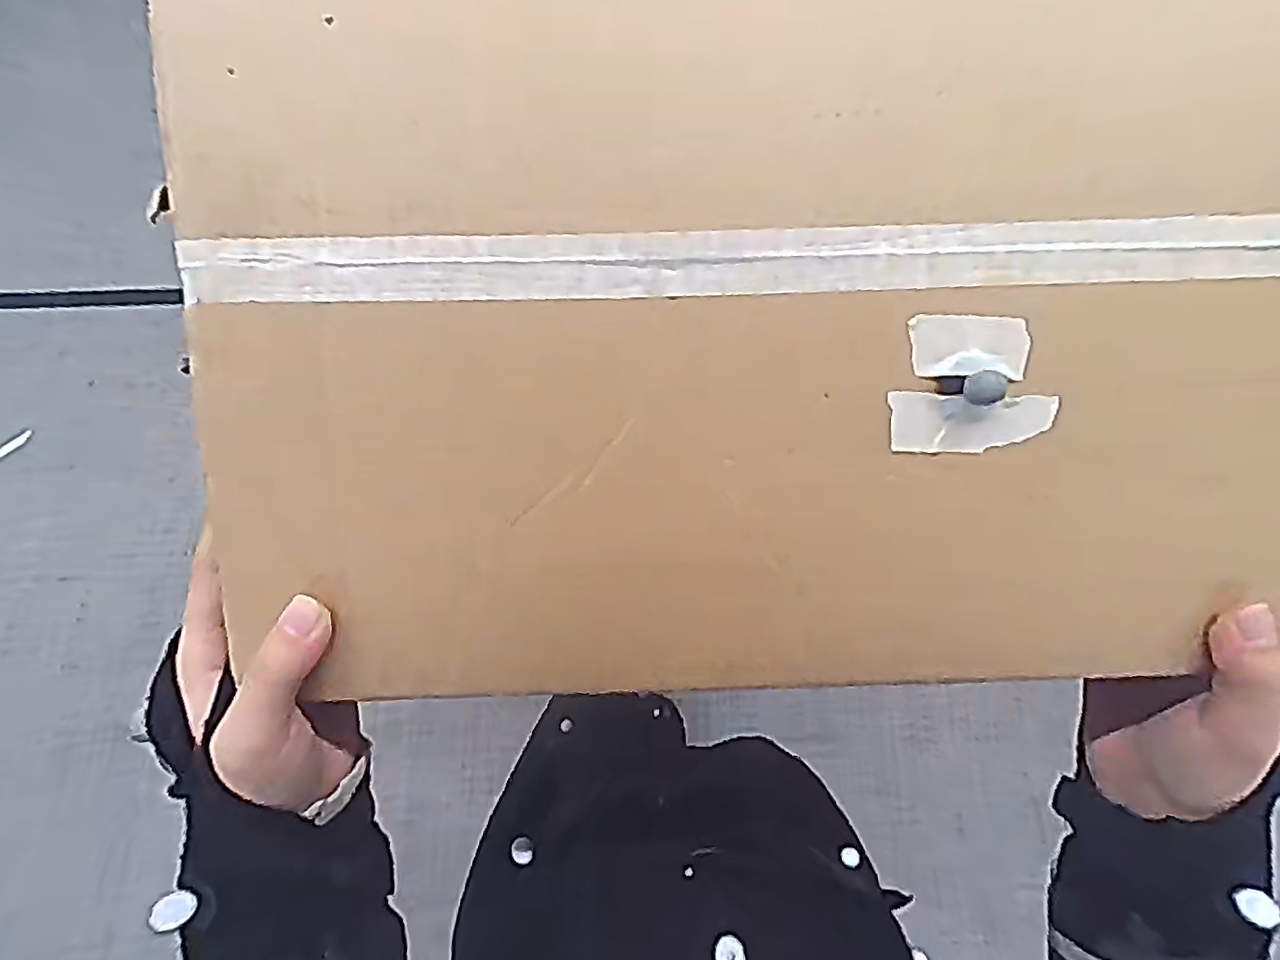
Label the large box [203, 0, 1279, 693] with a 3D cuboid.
[{"bbox_3d":[0.042,-0.091,0.351,0.408,0.320,0.320,-2,96,-2],"label":"large box"}]
